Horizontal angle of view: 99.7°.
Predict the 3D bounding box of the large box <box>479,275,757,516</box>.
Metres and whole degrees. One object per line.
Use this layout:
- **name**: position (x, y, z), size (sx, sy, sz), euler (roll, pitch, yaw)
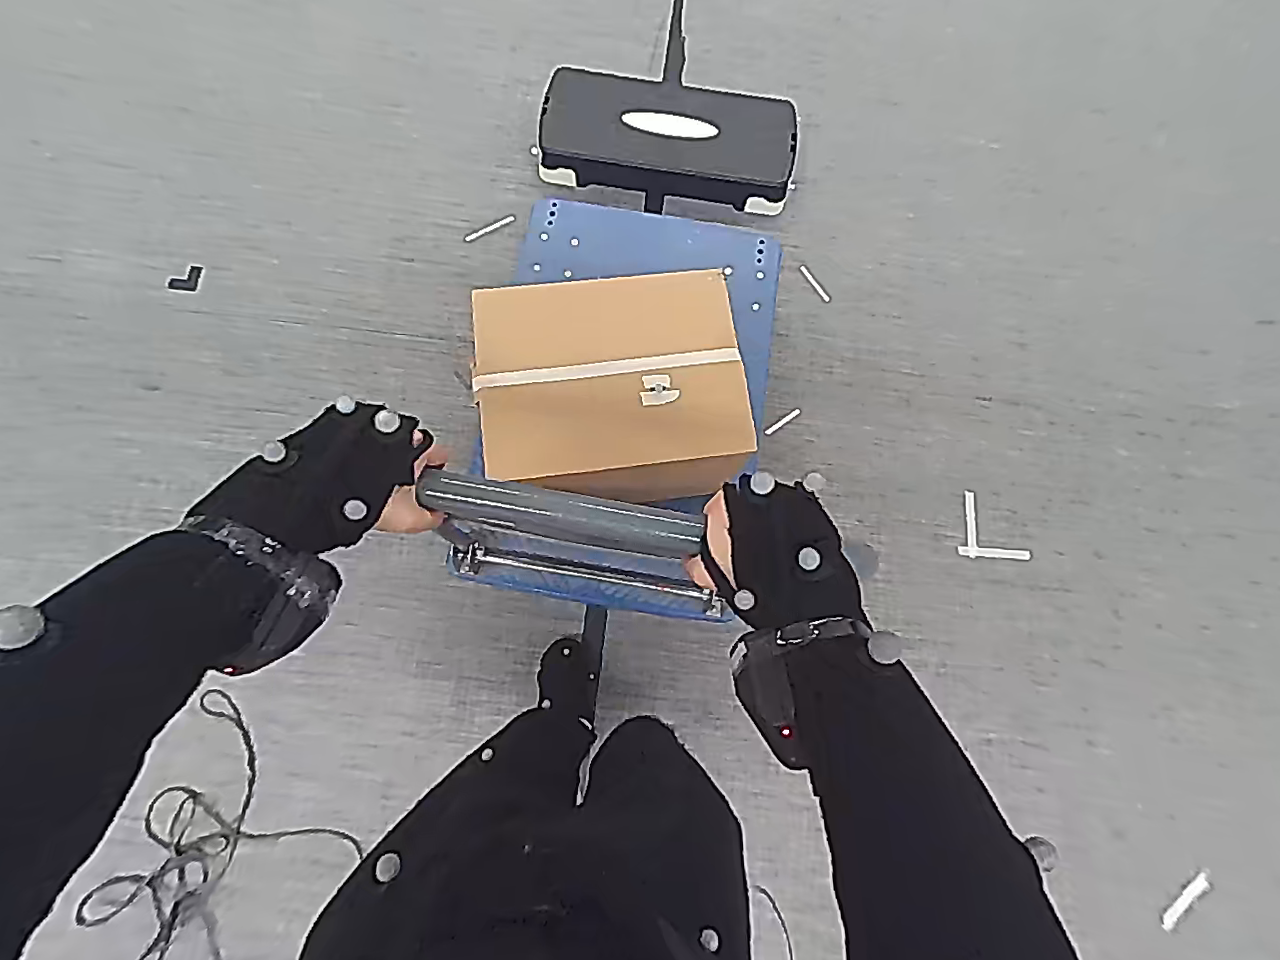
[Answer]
- **large box**: position (-0.049, -0.131, 0.978), size (0.408, 0.320, 0.320), euler (-7, 78, -6)
